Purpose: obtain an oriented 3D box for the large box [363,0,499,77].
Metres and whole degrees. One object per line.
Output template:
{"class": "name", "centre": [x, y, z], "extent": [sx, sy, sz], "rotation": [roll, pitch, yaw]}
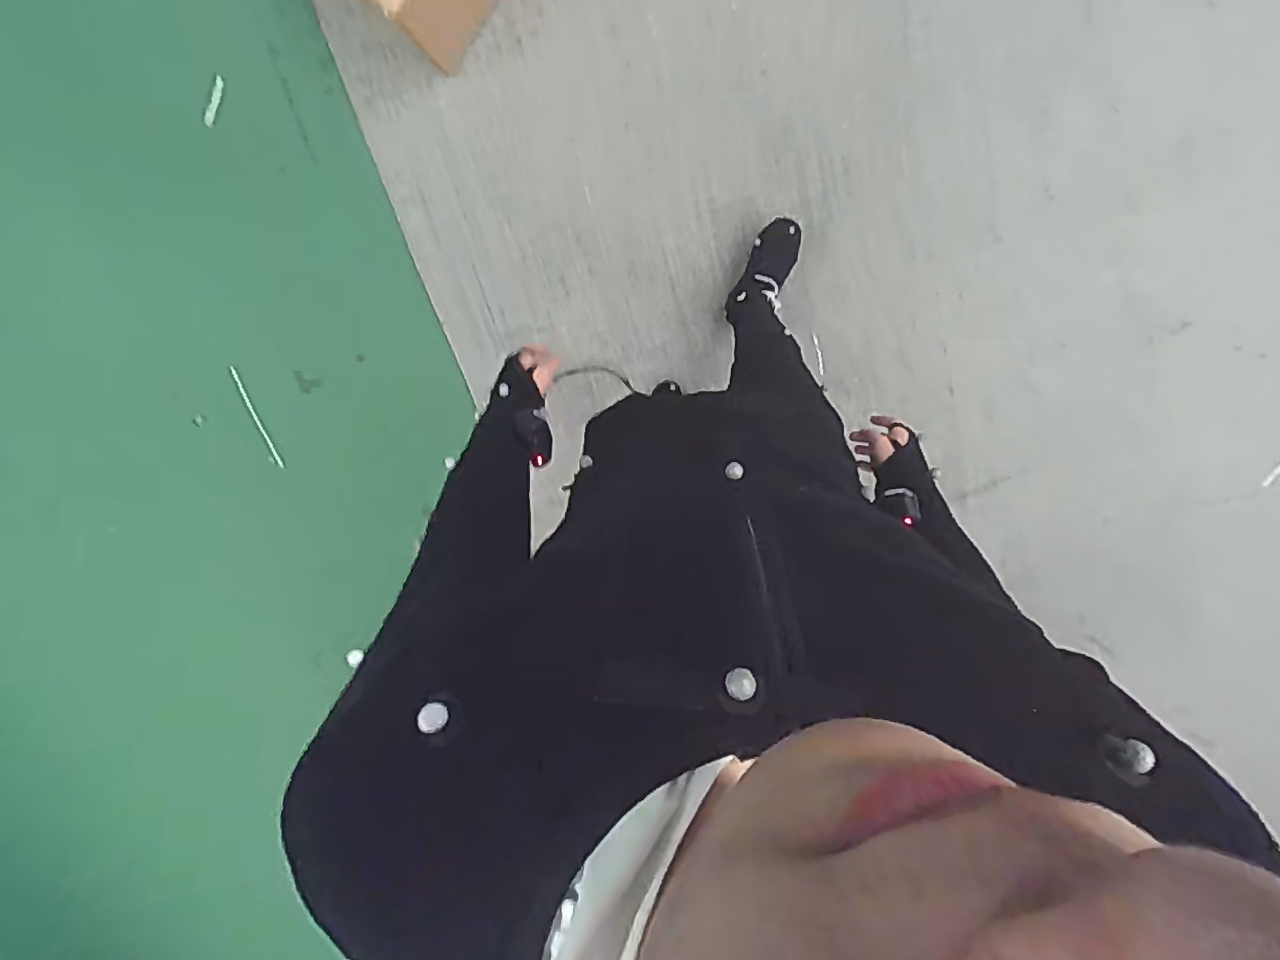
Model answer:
{"class": "large box", "centre": [-0.465, -1.193, 1.136], "extent": [0.320, 0.320, 0.408], "rotation": [39, 106, -8]}
